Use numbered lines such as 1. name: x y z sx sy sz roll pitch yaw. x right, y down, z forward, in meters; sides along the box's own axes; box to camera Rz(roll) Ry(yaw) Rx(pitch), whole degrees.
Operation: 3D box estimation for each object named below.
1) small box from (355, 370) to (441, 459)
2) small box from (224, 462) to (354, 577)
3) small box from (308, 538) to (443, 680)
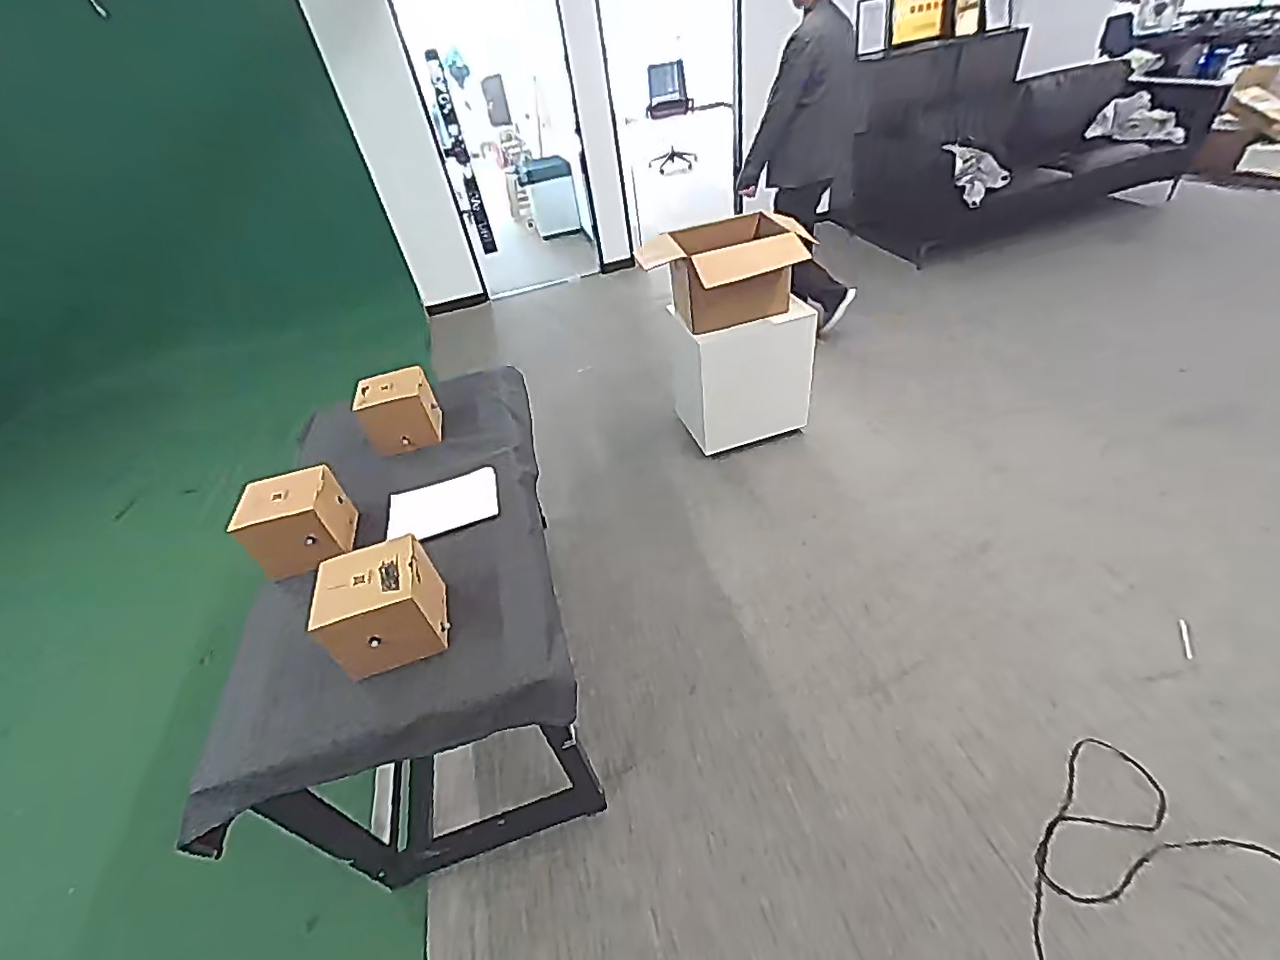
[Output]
1. small box: -0.679 -0.186 1.540 0.179 0.176 0.168 -15 41 -8
2. small box: -0.776 0.090 1.220 0.179 0.176 0.168 -17 40 -8
3. small box: -0.479 0.242 1.013 0.179 0.176 0.168 -17 41 -9
